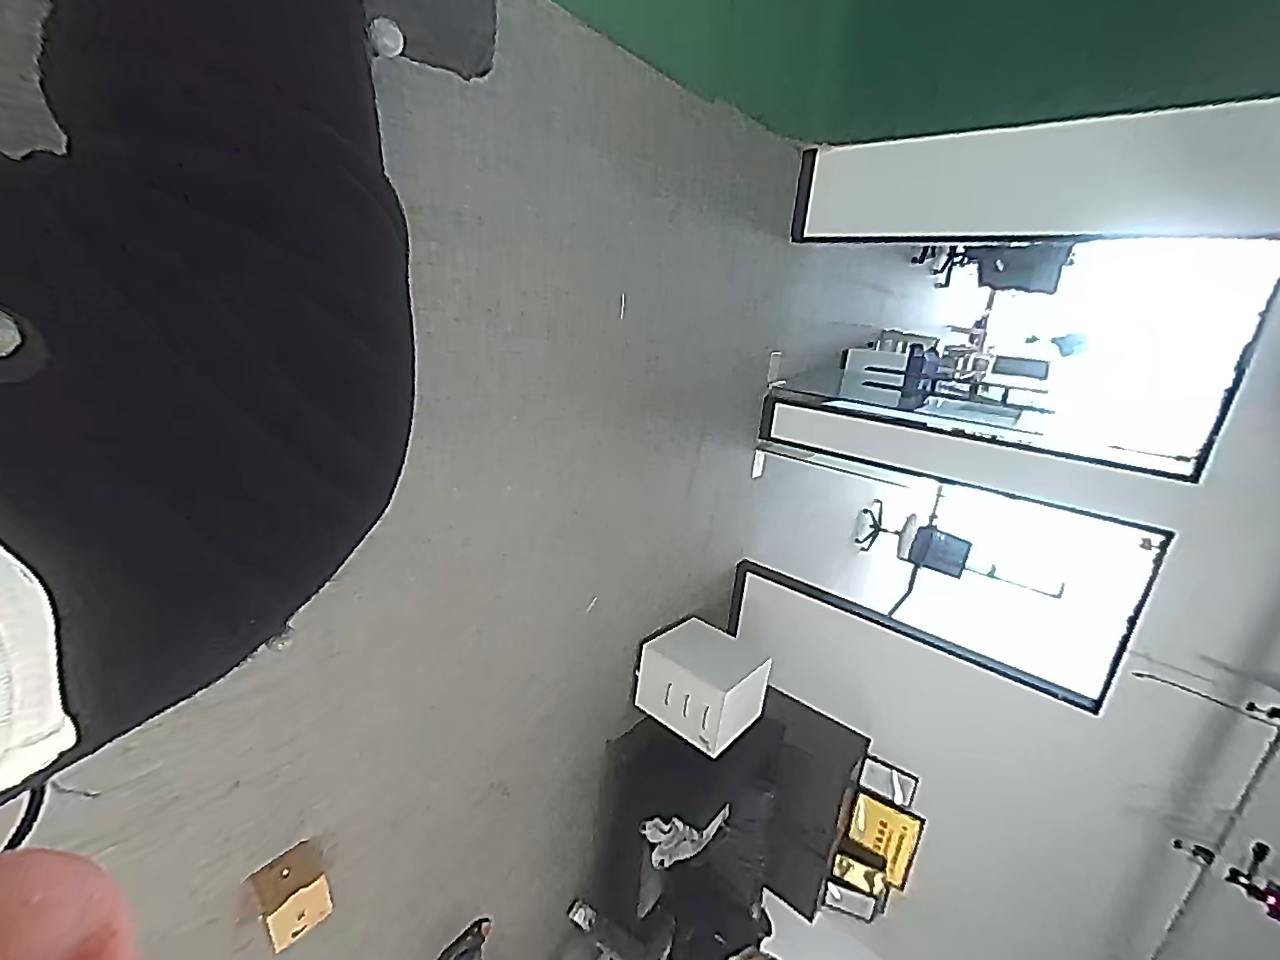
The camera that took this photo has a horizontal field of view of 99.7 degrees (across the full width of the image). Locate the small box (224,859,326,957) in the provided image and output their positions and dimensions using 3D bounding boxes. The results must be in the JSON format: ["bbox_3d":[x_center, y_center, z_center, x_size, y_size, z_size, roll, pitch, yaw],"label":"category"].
[{"bbox_3d":[-1.137,1.328,1.684,0.179,0.176,0.168,-51,141,-28],"label":"small box"}]
